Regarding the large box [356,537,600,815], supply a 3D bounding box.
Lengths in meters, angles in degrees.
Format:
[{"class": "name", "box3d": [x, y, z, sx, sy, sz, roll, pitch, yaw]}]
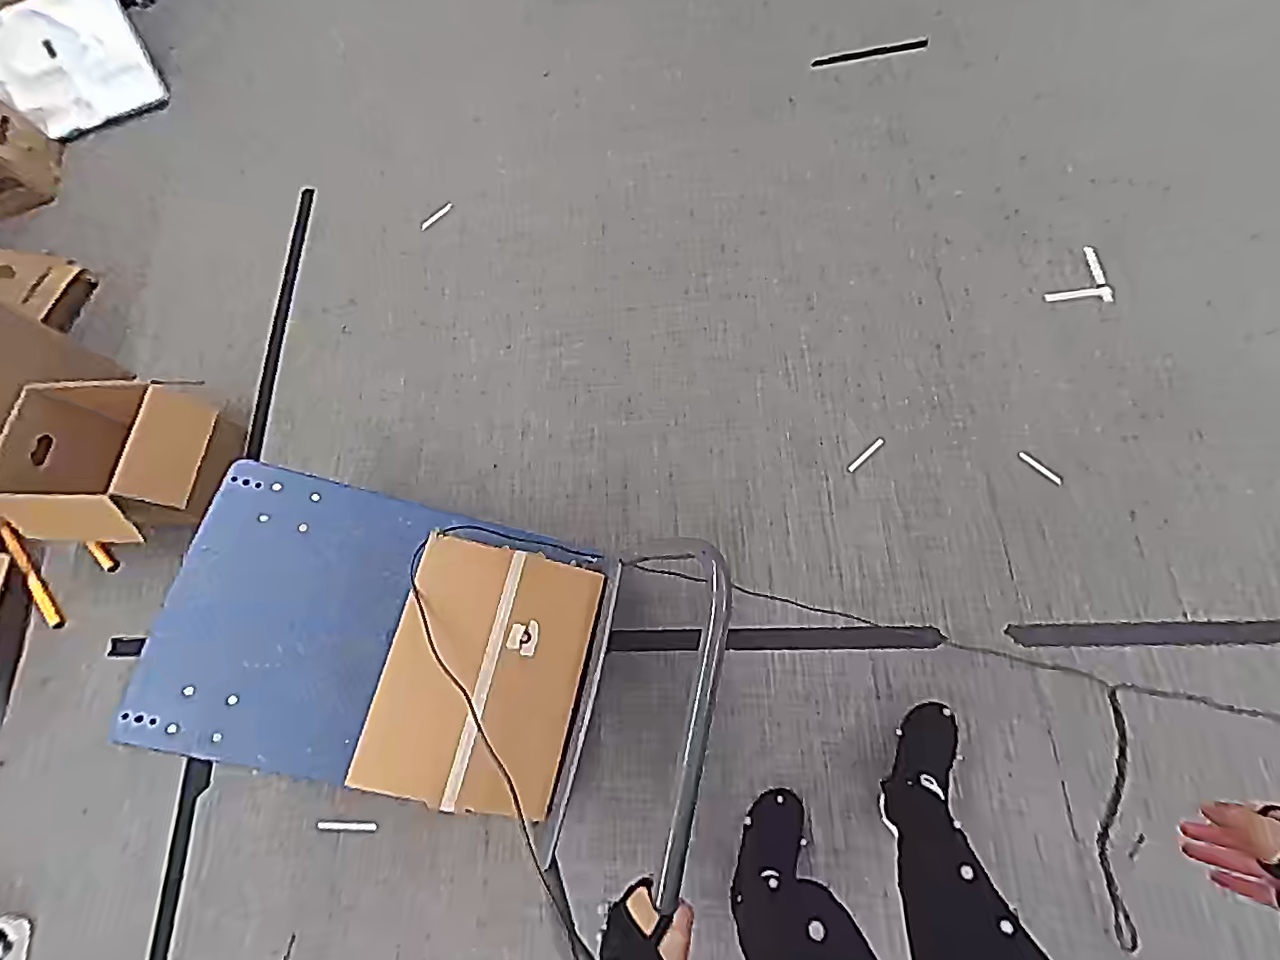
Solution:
[{"class": "large box", "box3d": [-0.285, 0.358, 1.045, 0.320, 0.320, 0.408, 15, 73, -9]}]
